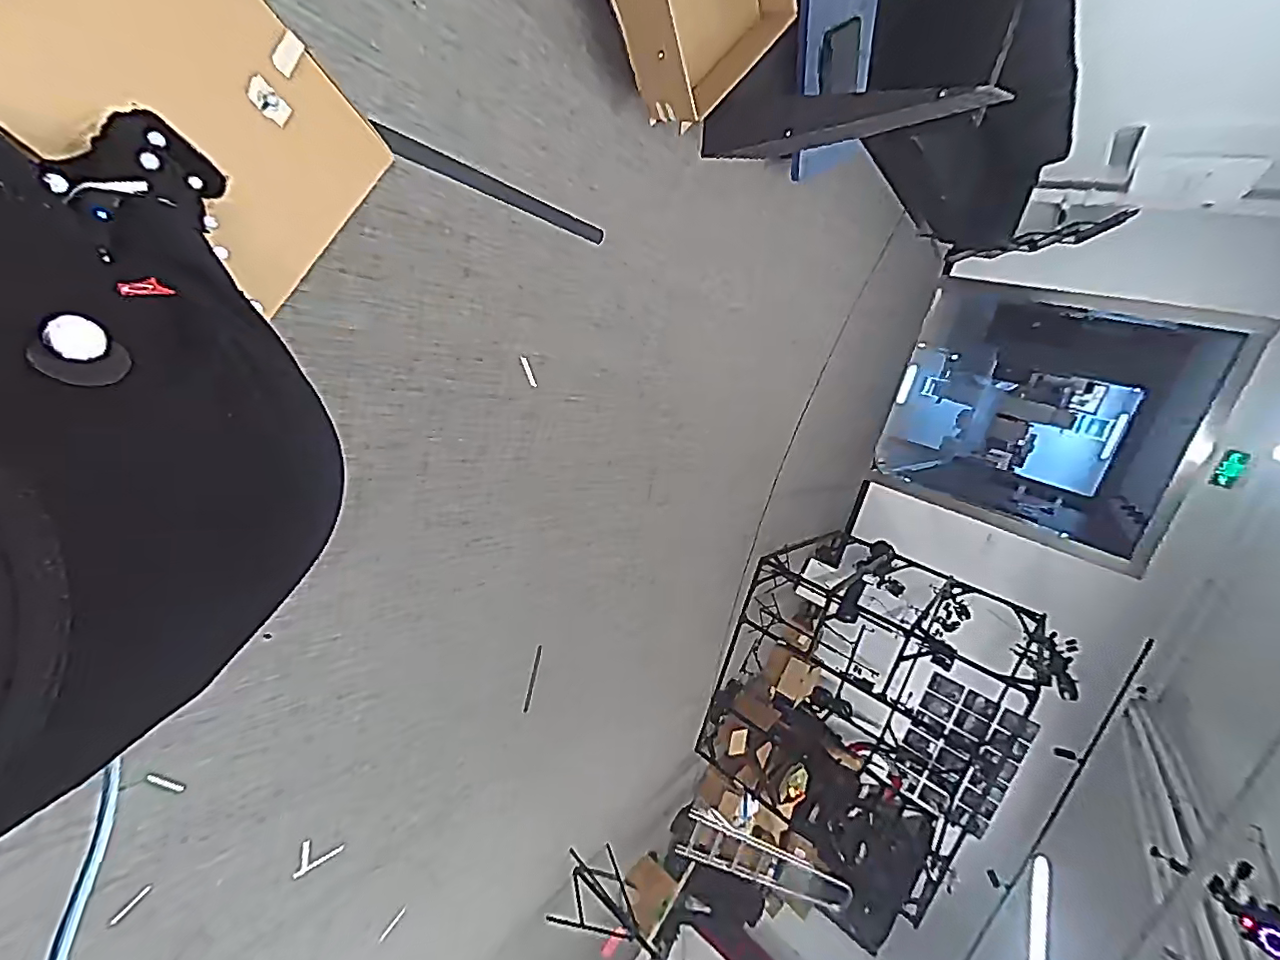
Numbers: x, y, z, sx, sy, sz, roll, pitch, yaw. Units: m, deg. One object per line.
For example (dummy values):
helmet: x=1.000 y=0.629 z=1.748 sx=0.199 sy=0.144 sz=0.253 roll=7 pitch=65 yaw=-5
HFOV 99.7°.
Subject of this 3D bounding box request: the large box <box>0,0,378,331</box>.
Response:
large box: x=-0.642 y=-0.425 z=0.711 sx=0.320 sy=0.408 sz=0.320 roll=49 pitch=58 yaw=-48
